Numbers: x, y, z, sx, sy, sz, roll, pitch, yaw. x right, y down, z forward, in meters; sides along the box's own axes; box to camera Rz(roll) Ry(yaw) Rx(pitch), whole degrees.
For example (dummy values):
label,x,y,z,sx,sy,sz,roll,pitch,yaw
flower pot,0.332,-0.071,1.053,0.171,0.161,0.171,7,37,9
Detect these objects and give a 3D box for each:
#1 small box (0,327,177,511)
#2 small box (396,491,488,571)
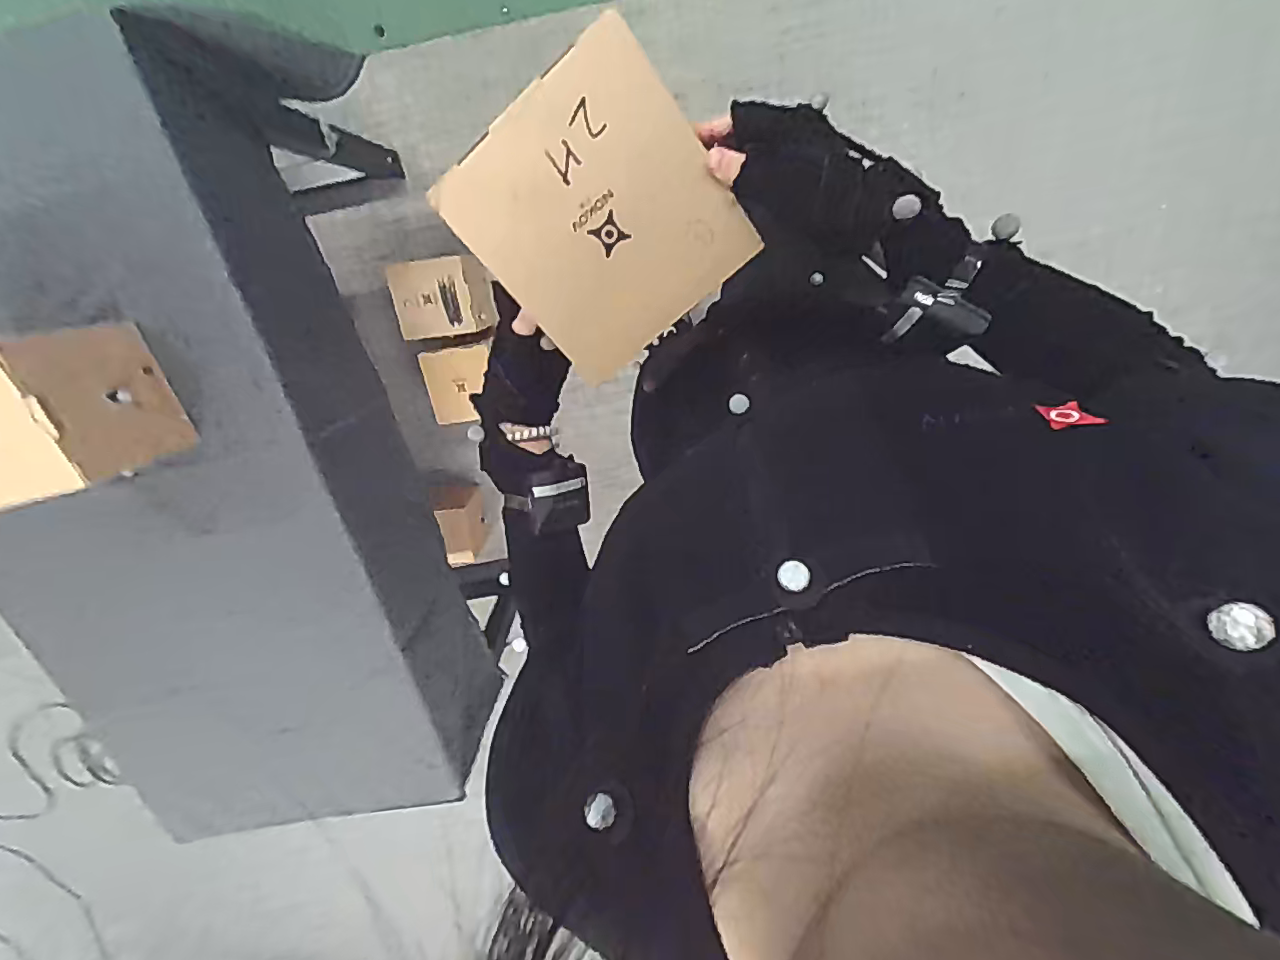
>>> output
label,x,y,z,sx,sy,sz,roll,pitch,yaw
small box,-0.700,-0.073,0.628,0.179,0.176,0.168,-12,111,4
small box,-0.539,0.138,1.495,0.179,0.176,0.168,-2,112,2
